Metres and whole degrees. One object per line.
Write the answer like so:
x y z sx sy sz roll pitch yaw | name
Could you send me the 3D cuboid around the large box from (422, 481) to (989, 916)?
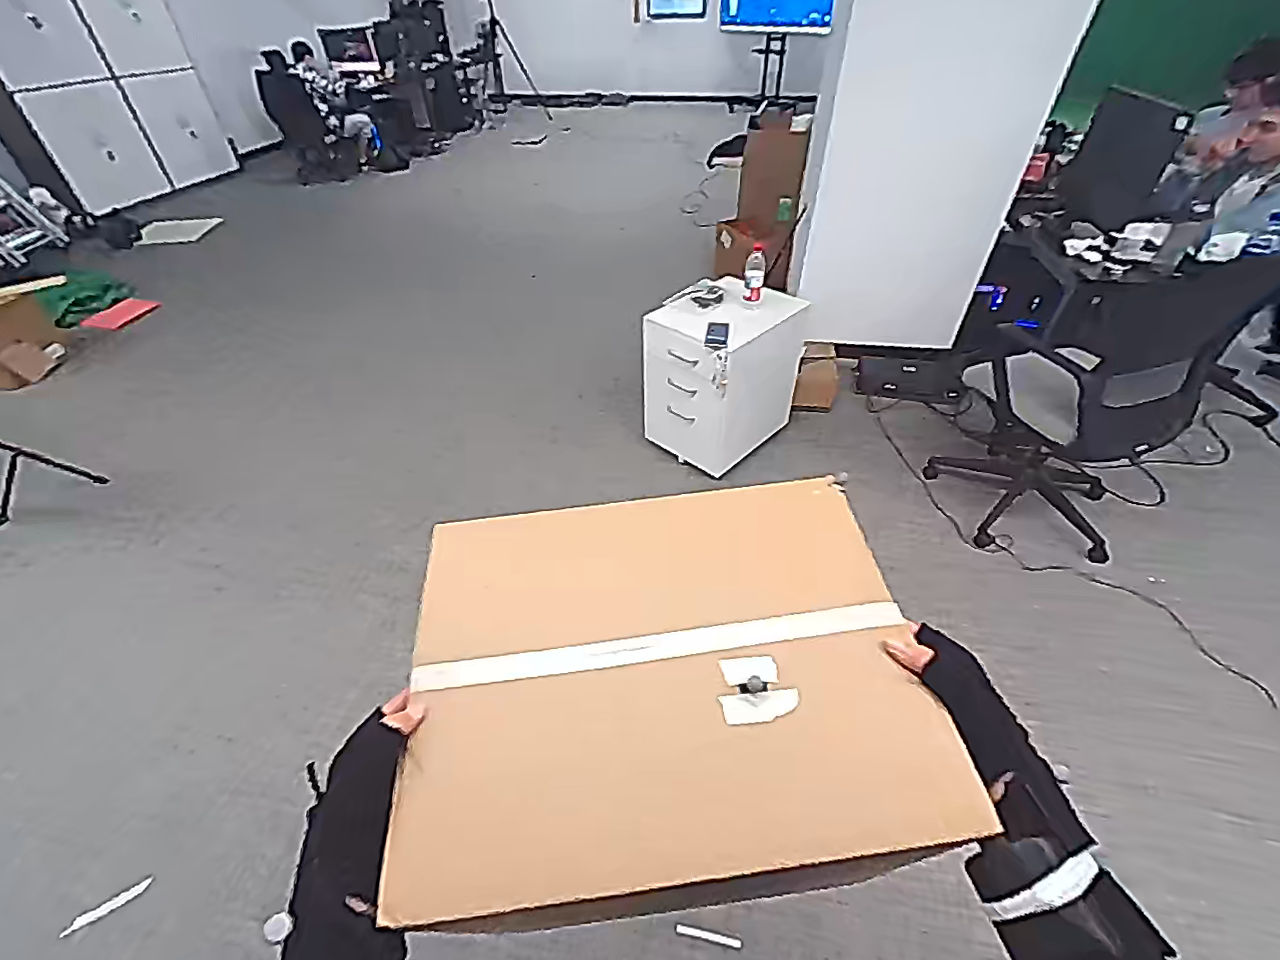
0.037 0.235 0.575 0.408 0.320 0.320 -6 50 -2 | large box
